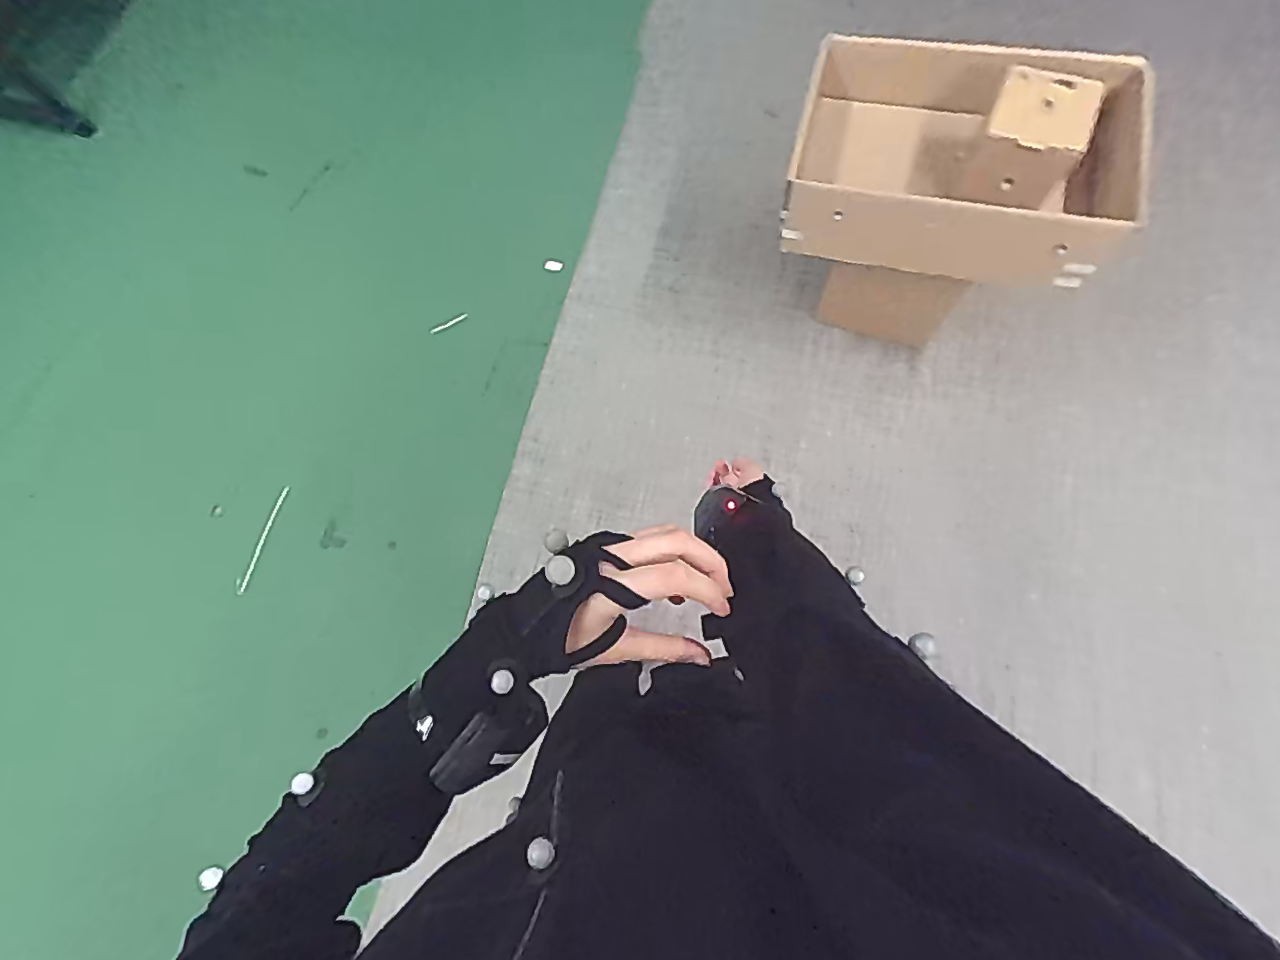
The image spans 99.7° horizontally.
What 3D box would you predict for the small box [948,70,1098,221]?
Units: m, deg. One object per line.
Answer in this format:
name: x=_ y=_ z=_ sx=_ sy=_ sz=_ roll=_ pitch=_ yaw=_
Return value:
small box: x=0.742 y=-0.651 z=1.068 sx=0.168 sy=0.176 sz=0.179 roll=23 pitch=78 yaw=12
